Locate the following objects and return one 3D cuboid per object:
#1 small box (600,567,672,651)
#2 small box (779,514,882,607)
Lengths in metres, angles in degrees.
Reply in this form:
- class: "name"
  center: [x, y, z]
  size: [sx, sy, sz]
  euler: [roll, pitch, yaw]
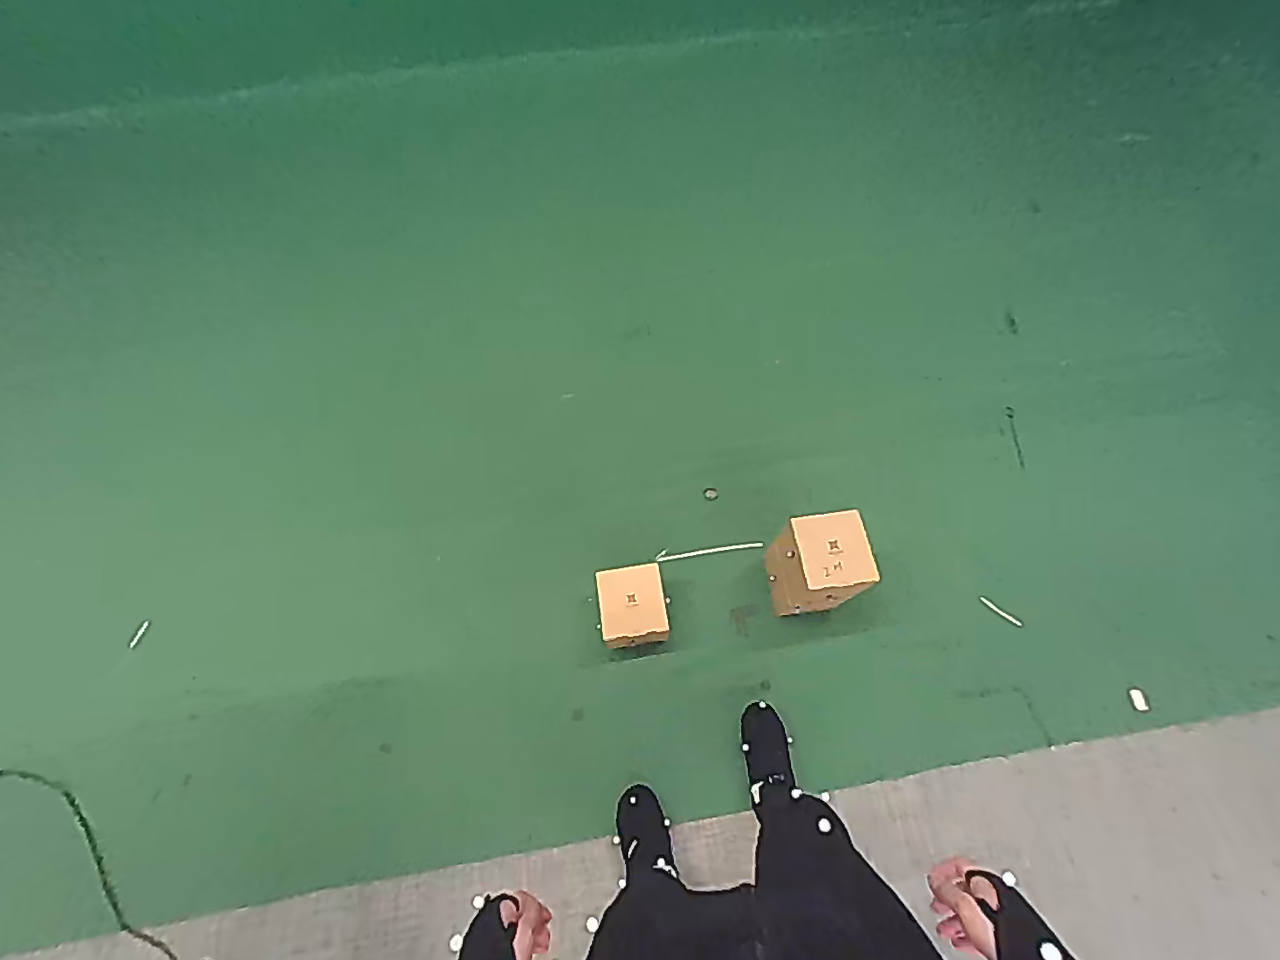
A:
- class: "small box"
  center: [-0.013, 0.346, 1.435]
  size: [0.168, 0.176, 0.179]
  euler: [-9, 67, -3]
- class: "small box"
  center: [0.450, 0.199, 1.312]
  size: [0.168, 0.176, 0.179]
  euler: [-7, 67, -2]
